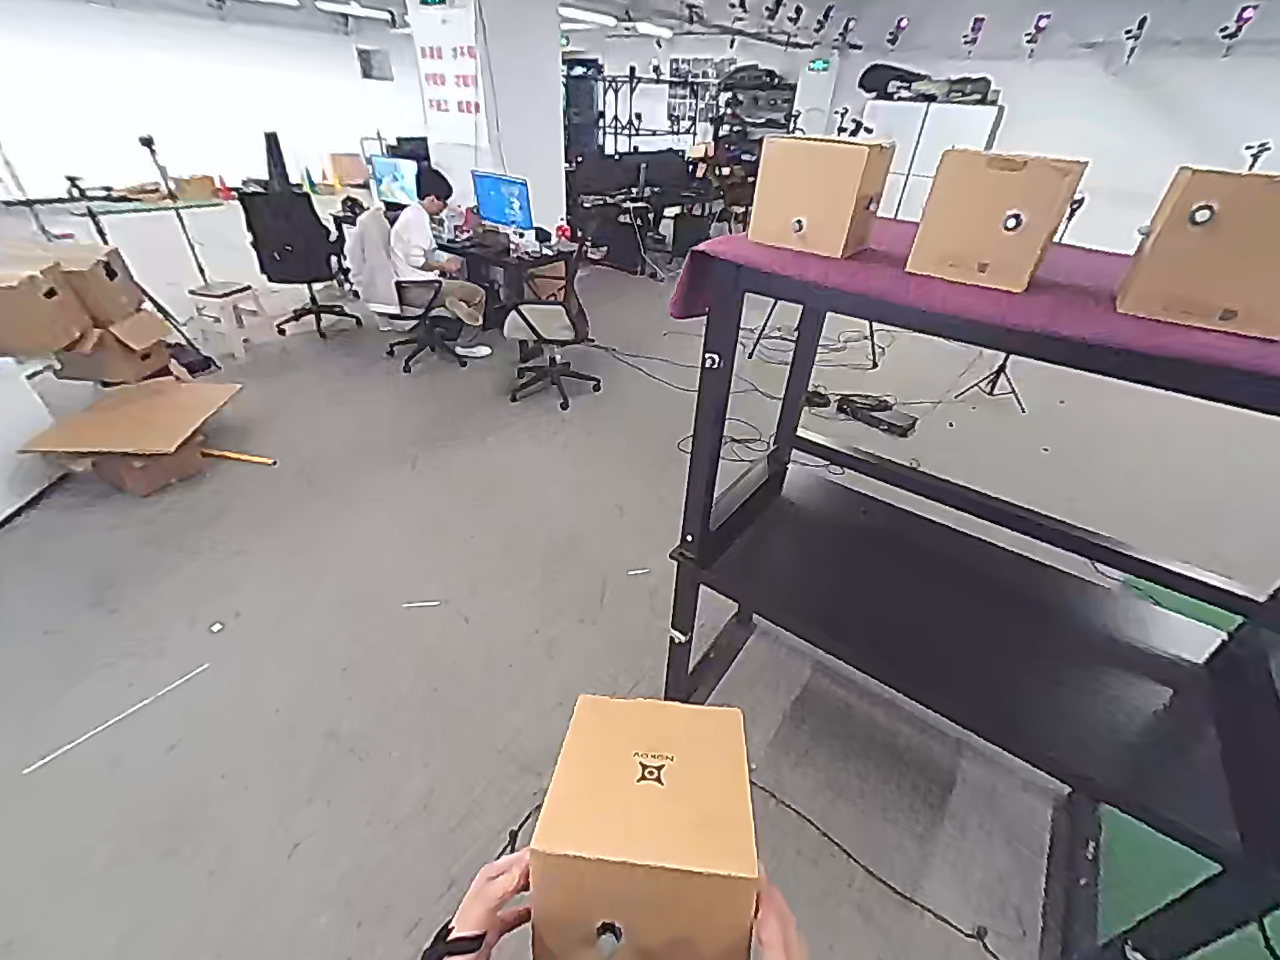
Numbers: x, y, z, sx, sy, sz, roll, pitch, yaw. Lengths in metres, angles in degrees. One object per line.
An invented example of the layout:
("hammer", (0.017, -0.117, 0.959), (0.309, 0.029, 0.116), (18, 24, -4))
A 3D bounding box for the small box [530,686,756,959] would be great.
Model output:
("small box", (0.010, 0.315, 0.482), (0.168, 0.176, 0.179), (3, 15, 5))

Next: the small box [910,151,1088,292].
("small box", (0.534, -0.394, 0.819), (0.168, 0.176, 0.179), (27, 39, 29))

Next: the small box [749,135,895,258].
("small box", (0.313, -0.495, 0.945), (0.179, 0.176, 0.168), (24, 39, 26))
